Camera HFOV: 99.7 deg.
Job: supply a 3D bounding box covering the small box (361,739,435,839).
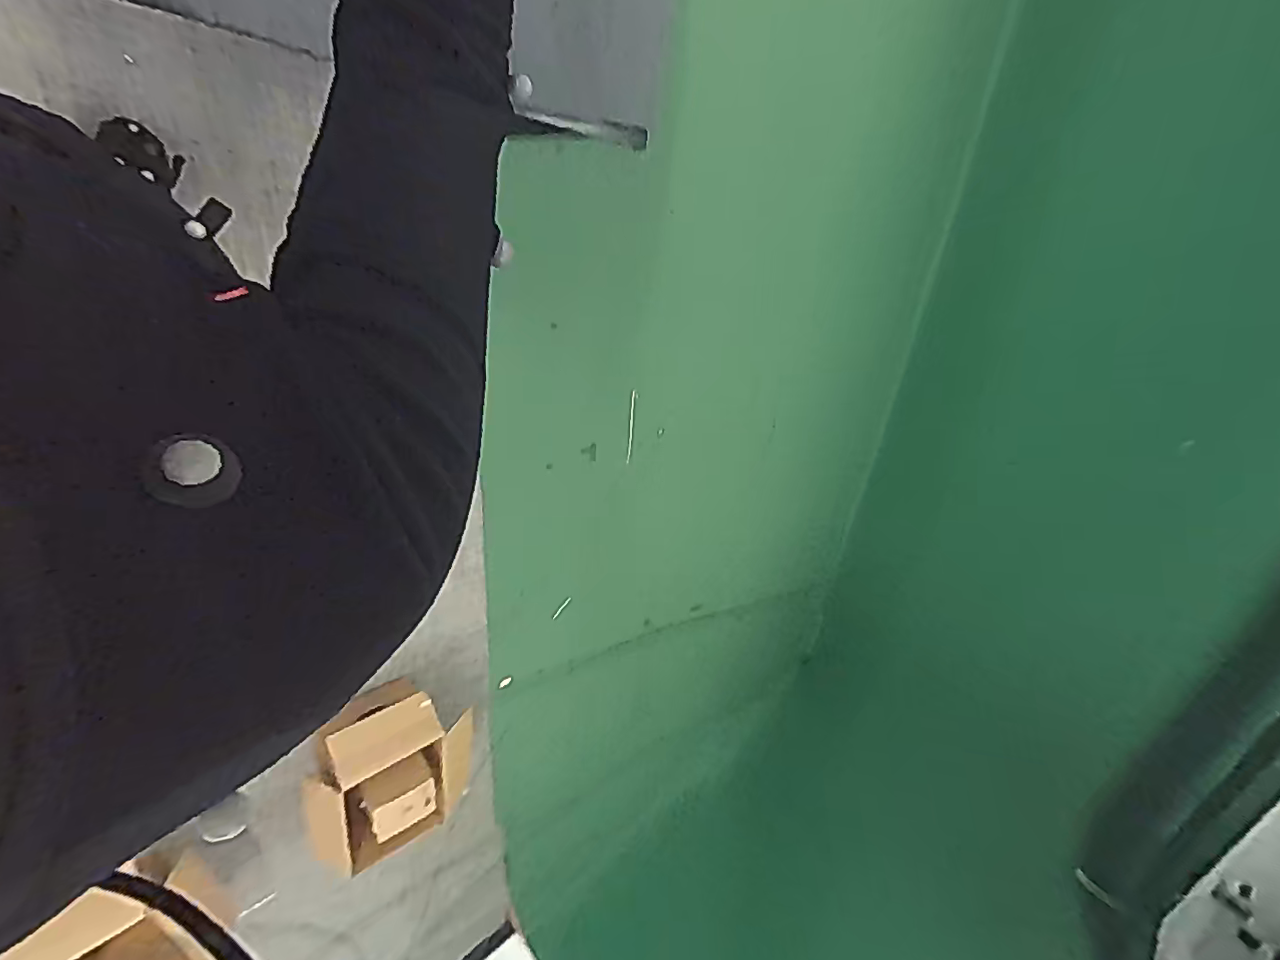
[{"bbox_3d":[-0.760,0.960,1.694,0.179,0.176,0.168,-14,125,-37],"label":"small box"}]
